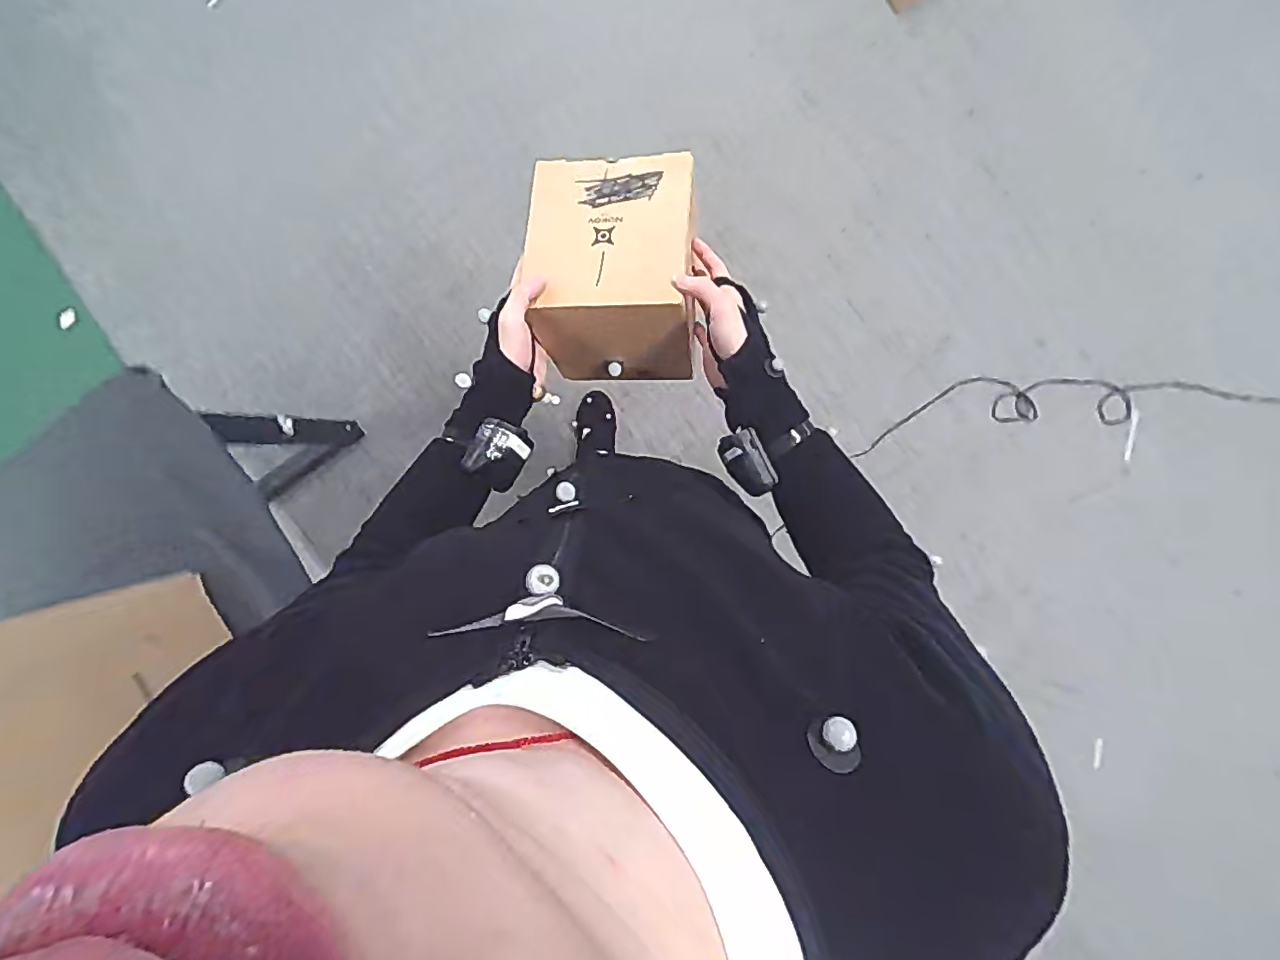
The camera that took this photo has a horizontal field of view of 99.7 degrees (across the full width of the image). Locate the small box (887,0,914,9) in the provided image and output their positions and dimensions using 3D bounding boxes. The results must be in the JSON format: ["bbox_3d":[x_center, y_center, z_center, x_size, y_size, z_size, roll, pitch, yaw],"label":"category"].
[{"bbox_3d":[0.688,-1.336,1.331,0.168,0.176,0.179,-28,91,4],"label":"small box"}]

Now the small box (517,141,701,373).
[{"bbox_3d":[-0.020,-0.238,0.607,0.168,0.176,0.179,3,76,10],"label":"small box"}]
